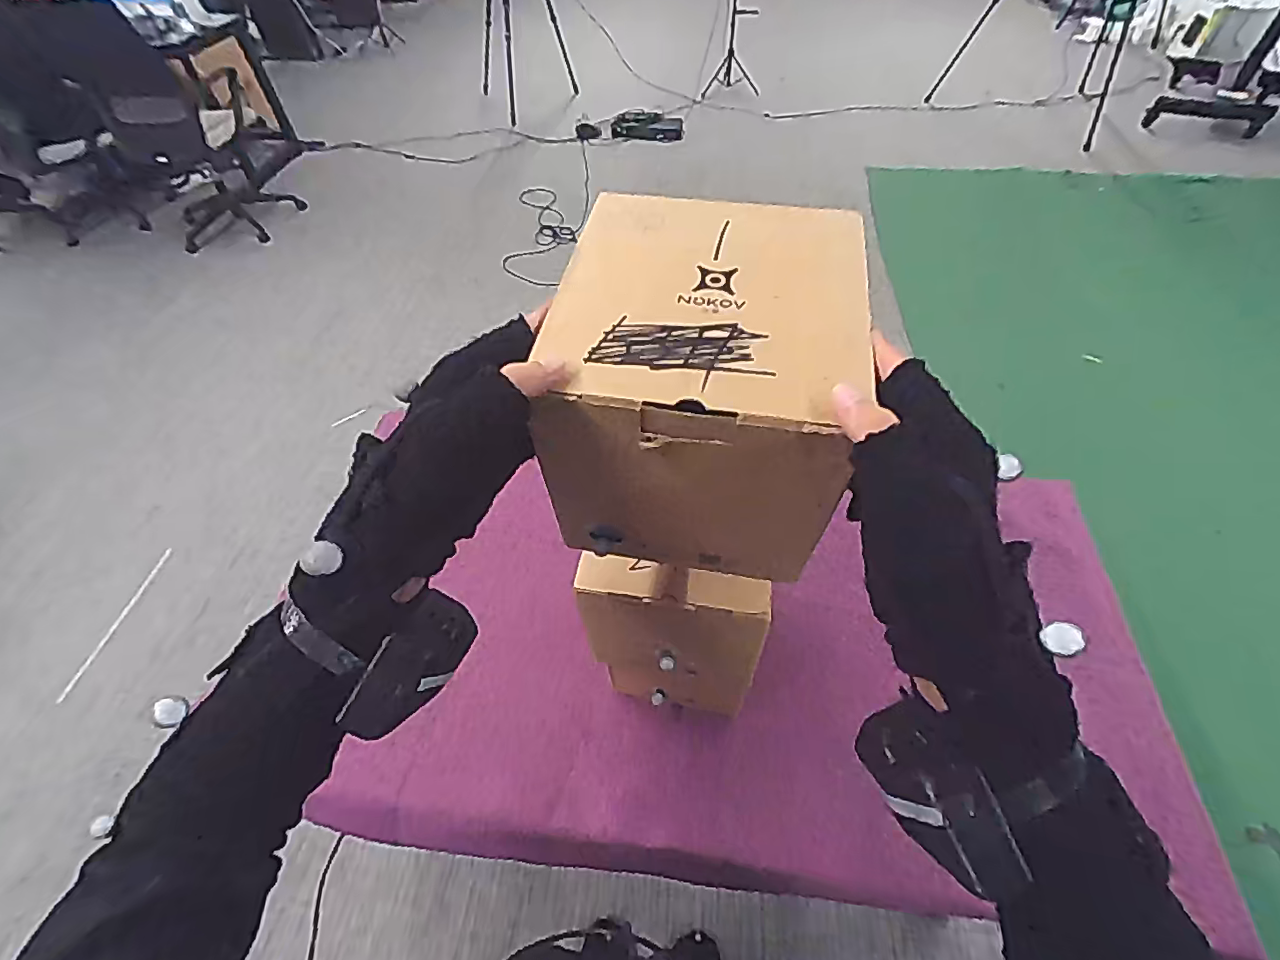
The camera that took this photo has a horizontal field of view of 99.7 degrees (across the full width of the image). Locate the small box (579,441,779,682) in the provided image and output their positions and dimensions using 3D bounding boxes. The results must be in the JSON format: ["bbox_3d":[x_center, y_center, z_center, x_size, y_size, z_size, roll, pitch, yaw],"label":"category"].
[{"bbox_3d":[0.046,0.085,0.562,0.168,0.176,0.179,6,52,9],"label":"small box"}]

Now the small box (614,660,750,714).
[{"bbox_3d":[0.060,0.176,0.699,0.168,0.176,0.179,8,52,10],"label":"small box"}]
